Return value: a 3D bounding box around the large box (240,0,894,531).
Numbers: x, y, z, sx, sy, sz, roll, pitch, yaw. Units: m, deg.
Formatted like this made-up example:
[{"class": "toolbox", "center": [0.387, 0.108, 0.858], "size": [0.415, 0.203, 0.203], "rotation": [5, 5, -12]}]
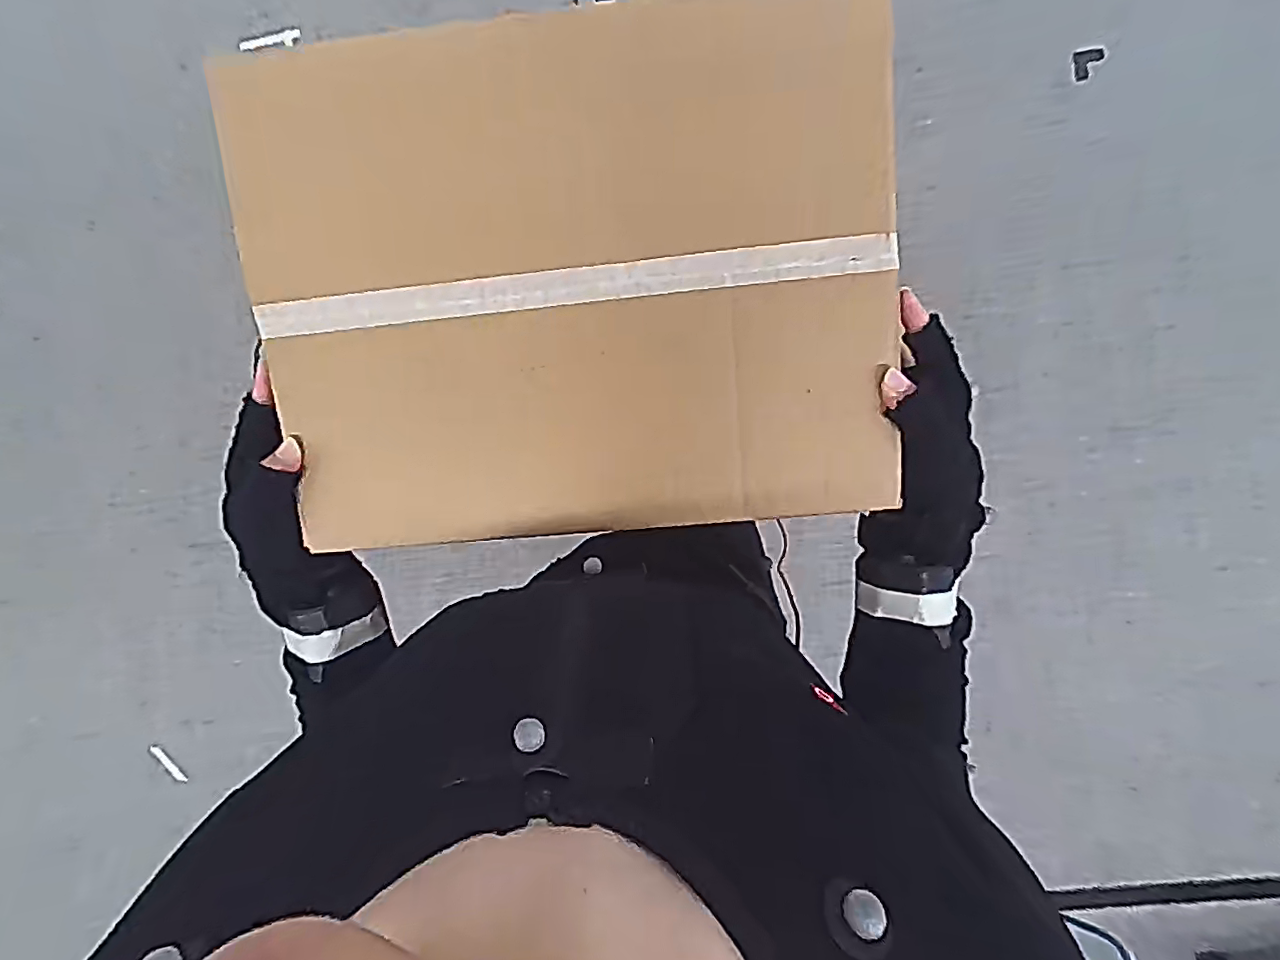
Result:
[{"class": "large box", "center": [-0.036, -0.156, 0.496], "size": [0.408, 0.320, 0.320], "rotation": [-5, 100, 4]}]
